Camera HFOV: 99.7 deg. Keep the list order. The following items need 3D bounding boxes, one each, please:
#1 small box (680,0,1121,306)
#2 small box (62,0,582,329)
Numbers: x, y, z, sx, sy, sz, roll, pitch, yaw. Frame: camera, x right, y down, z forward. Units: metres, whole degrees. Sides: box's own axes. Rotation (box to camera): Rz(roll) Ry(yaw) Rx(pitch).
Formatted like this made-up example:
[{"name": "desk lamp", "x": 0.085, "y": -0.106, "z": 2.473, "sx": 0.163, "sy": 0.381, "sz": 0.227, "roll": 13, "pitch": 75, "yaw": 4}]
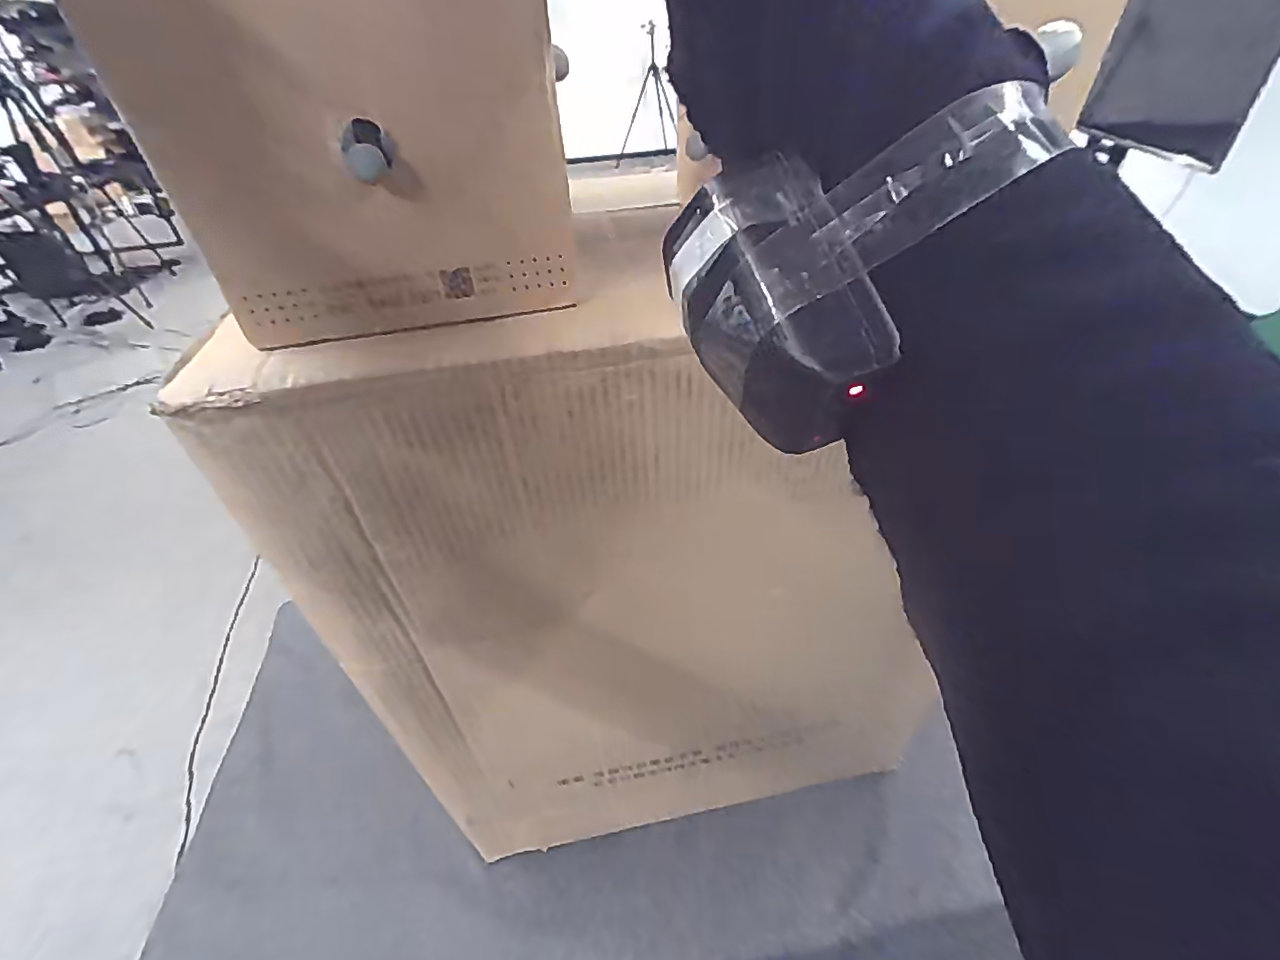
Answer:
[{"name": "small box", "x": 0.129, "y": -0.226, "z": 0.336, "sx": 0.179, "sy": 0.176, "sz": 0.168, "roll": -12, "pitch": 41, "yaw": -9}, {"name": "small box", "x": -0.129, "y": -0.191, "z": 0.287, "sx": 0.168, "sy": 0.176, "sz": 0.179, "roll": -10, "pitch": 42, "yaw": -8}]
